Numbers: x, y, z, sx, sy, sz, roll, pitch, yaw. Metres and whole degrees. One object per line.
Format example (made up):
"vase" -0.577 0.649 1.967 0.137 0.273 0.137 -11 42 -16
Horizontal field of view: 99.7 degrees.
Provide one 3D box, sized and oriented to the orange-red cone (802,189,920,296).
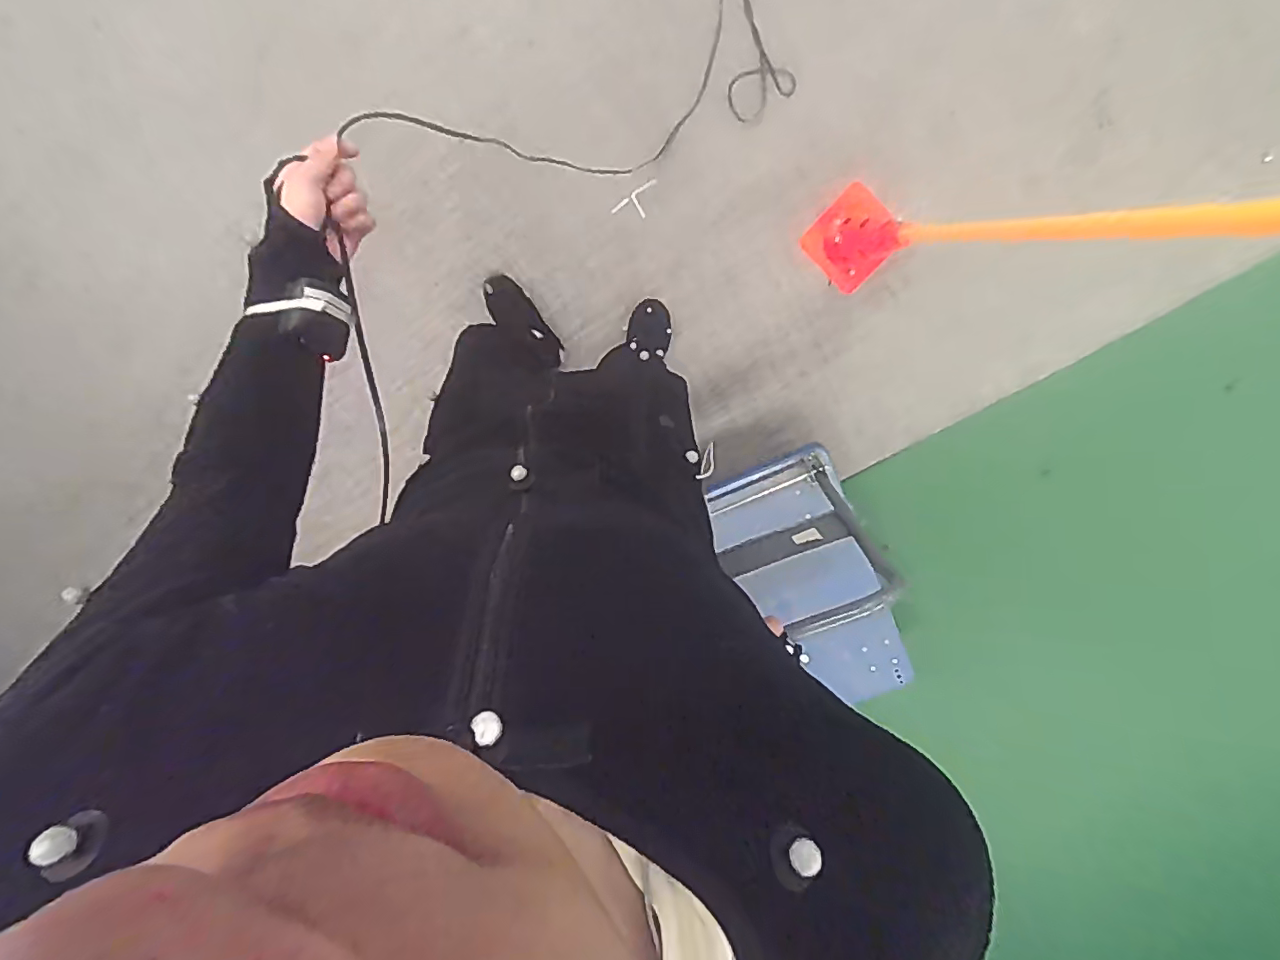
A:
"orange-red cone" 0.536 -0.538 1.221 0.198 0.360 0.199 41 107 -14
